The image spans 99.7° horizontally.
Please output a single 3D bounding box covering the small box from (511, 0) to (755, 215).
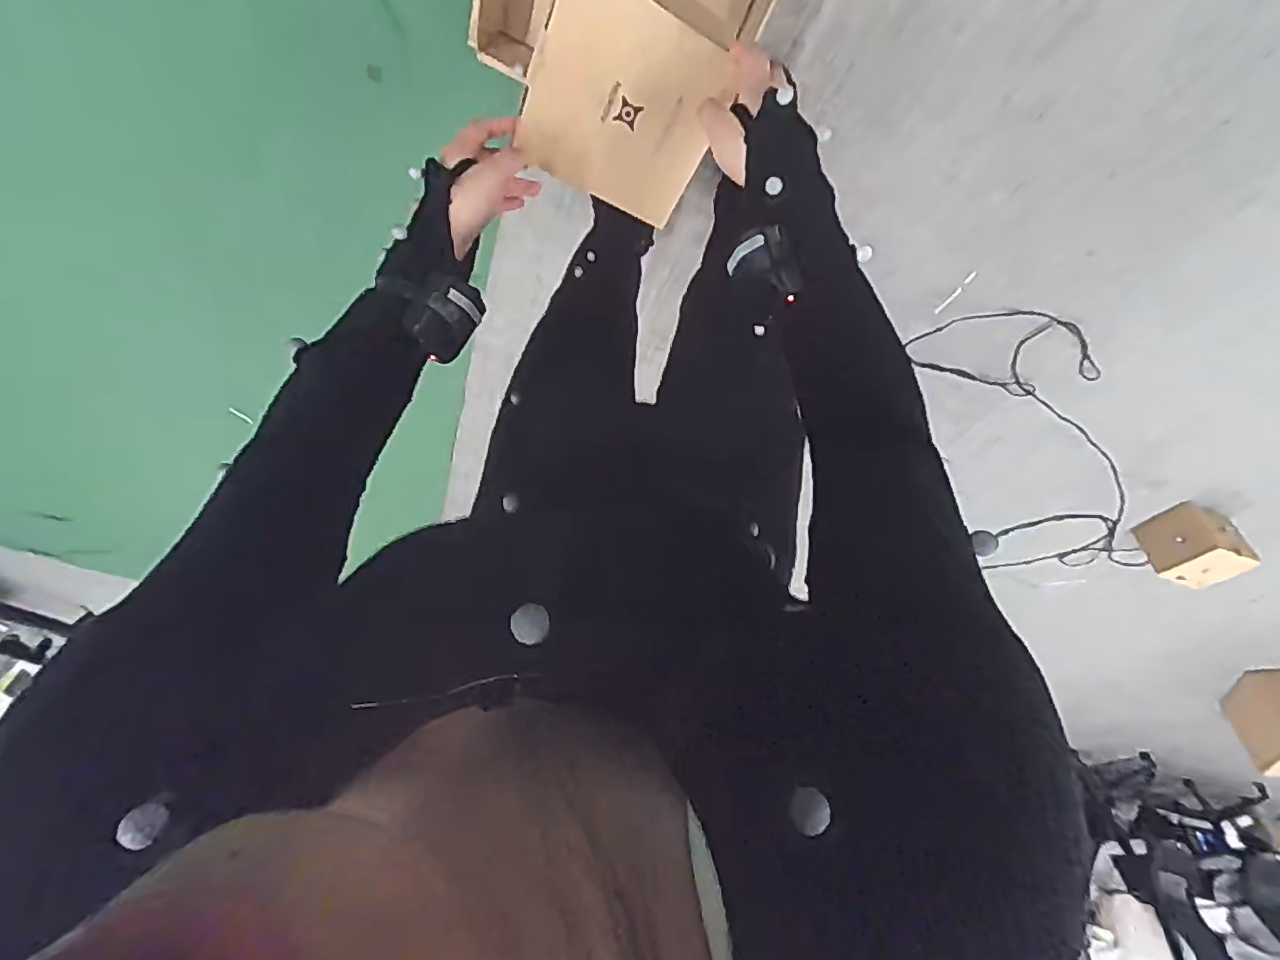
[{"bbox_3d":[-0.016,-0.414,0.545,0.179,0.176,0.168,15,139,-23],"label":"small box"}]

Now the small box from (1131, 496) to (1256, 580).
[{"bbox_3d":[1.666,0.174,1.641,0.168,0.176,0.179,18,138,-11],"label":"small box"}]
